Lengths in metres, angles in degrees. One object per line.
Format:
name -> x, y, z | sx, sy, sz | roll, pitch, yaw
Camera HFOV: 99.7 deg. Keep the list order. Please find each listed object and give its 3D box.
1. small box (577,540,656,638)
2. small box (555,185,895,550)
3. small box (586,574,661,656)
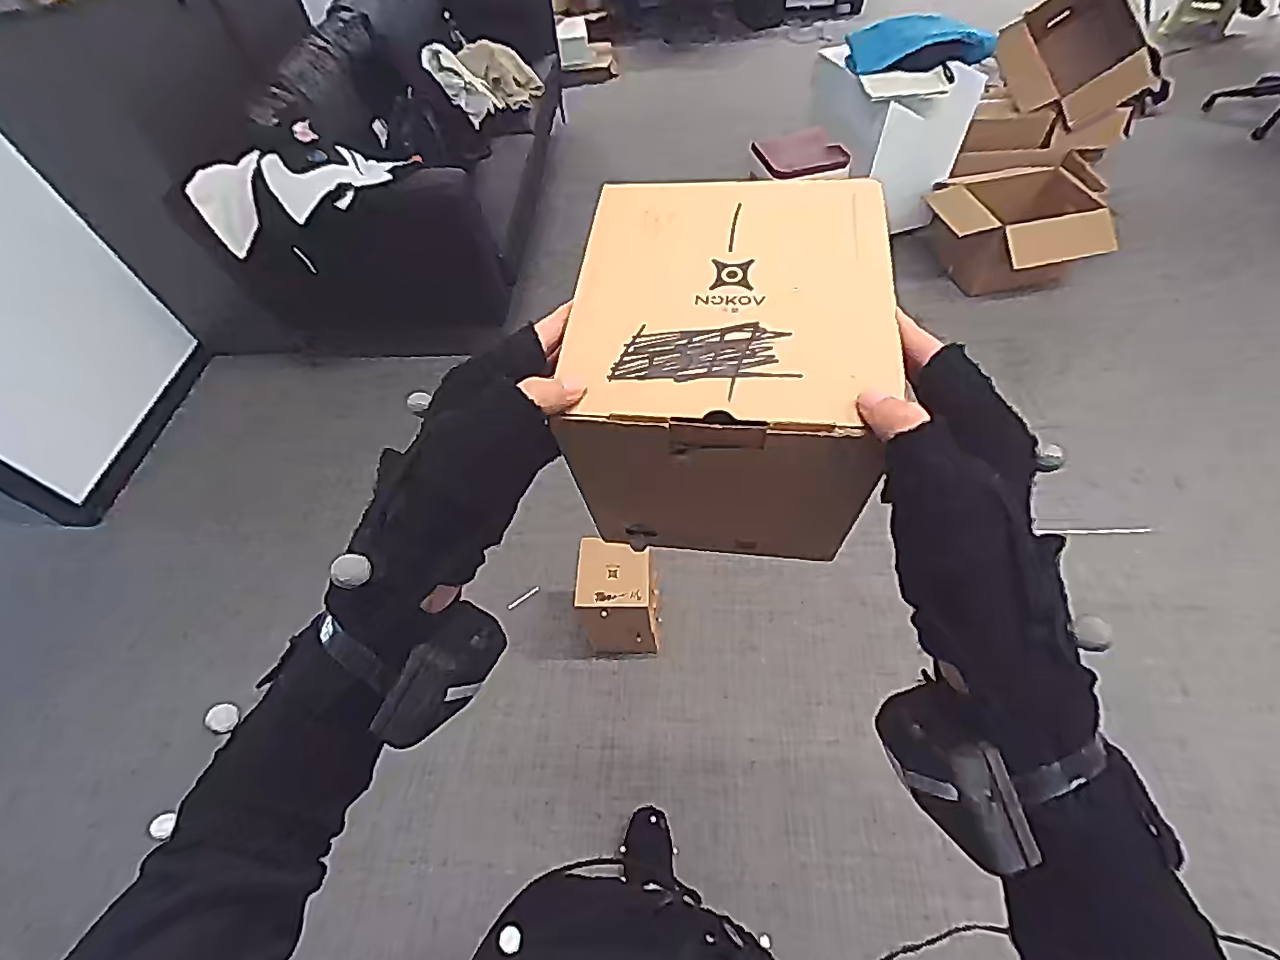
small box -> -0.049, 0.262, 1.292 | 0.168, 0.176, 0.179 | 0, 54, 5
small box -> 0.058, -0.065, 0.364 | 0.168, 0.176, 0.179 | 4, 62, 9
small box -> -0.038, 0.357, 1.426 | 0.179, 0.176, 0.168 | 0, 54, 4
